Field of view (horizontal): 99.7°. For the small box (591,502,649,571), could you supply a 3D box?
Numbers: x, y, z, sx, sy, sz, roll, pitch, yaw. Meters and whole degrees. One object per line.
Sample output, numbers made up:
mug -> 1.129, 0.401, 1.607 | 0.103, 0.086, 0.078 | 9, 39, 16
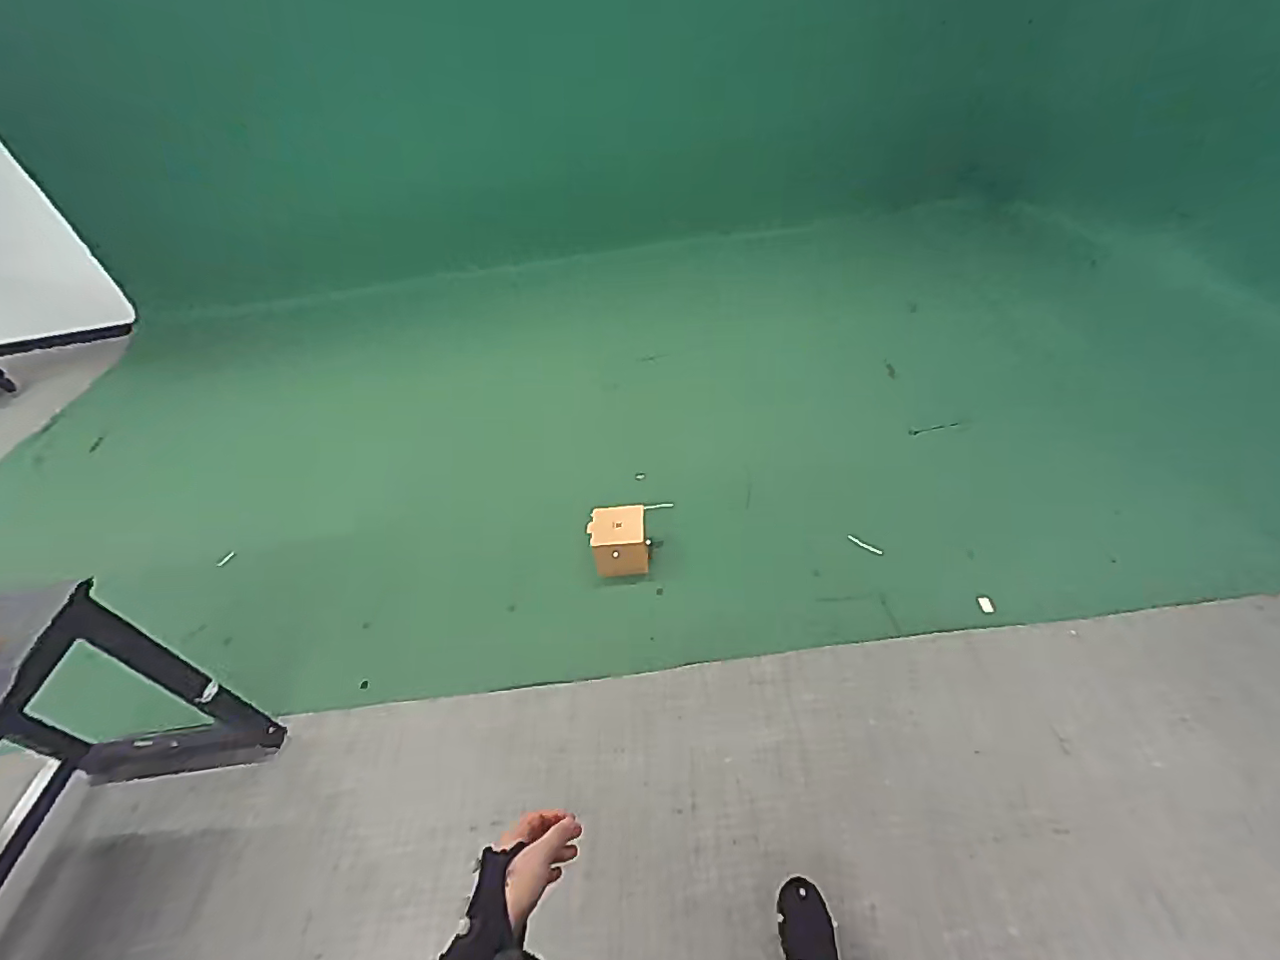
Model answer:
small box -> -0.062, 0.194, 1.836 | 0.179, 0.176, 0.168 | -5, 45, 5
